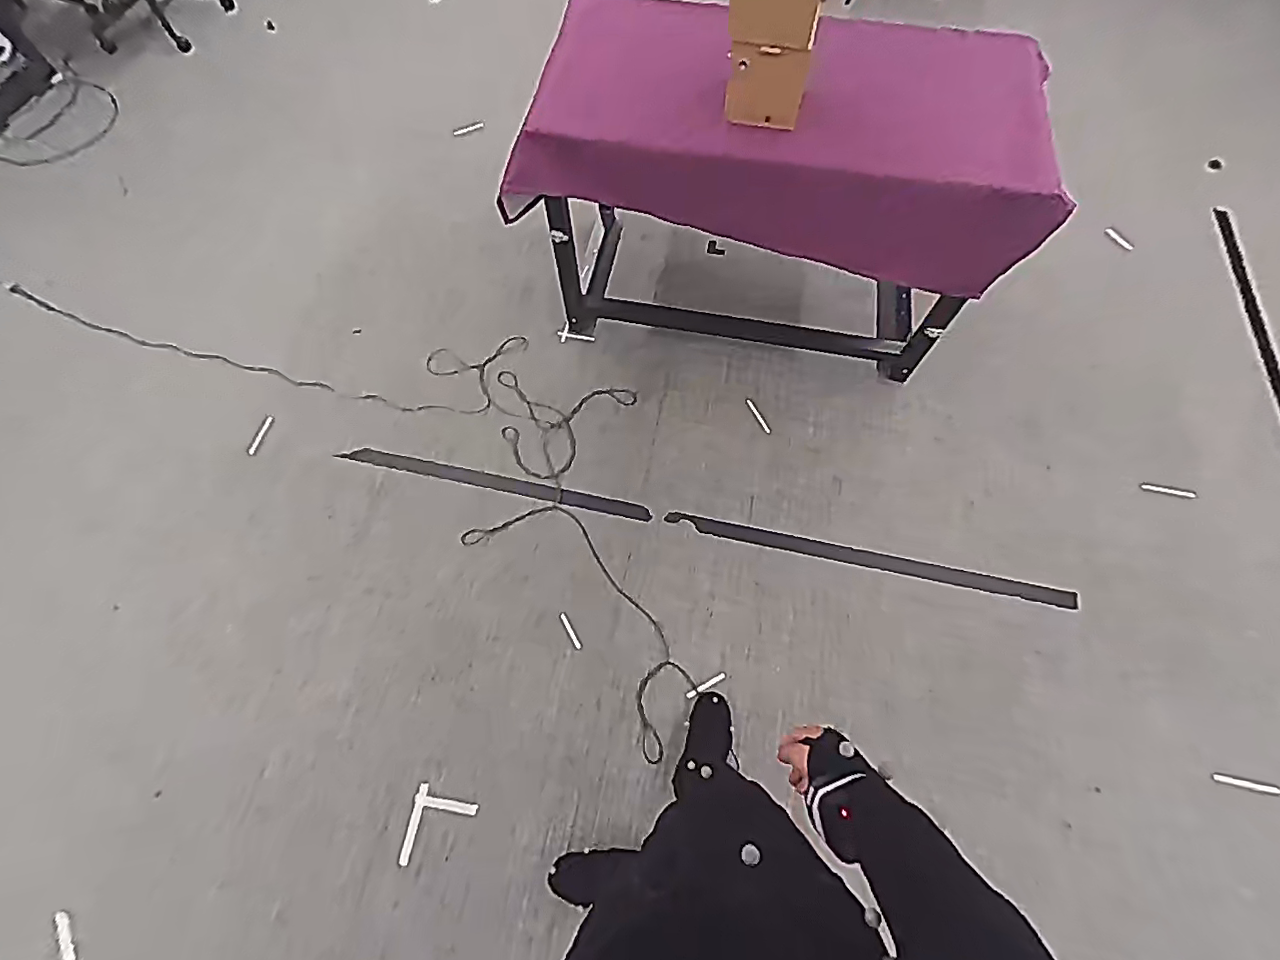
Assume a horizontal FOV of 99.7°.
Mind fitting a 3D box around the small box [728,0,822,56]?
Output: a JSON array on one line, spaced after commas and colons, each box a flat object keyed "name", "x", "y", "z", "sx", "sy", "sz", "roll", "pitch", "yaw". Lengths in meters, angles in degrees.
[{"name": "small box", "x": 0.279, "y": -0.986, "z": 1.077, "sx": 0.179, "sy": 0.176, "sz": 0.168, "roll": 13, "pitch": 66, "yaw": 6}]
